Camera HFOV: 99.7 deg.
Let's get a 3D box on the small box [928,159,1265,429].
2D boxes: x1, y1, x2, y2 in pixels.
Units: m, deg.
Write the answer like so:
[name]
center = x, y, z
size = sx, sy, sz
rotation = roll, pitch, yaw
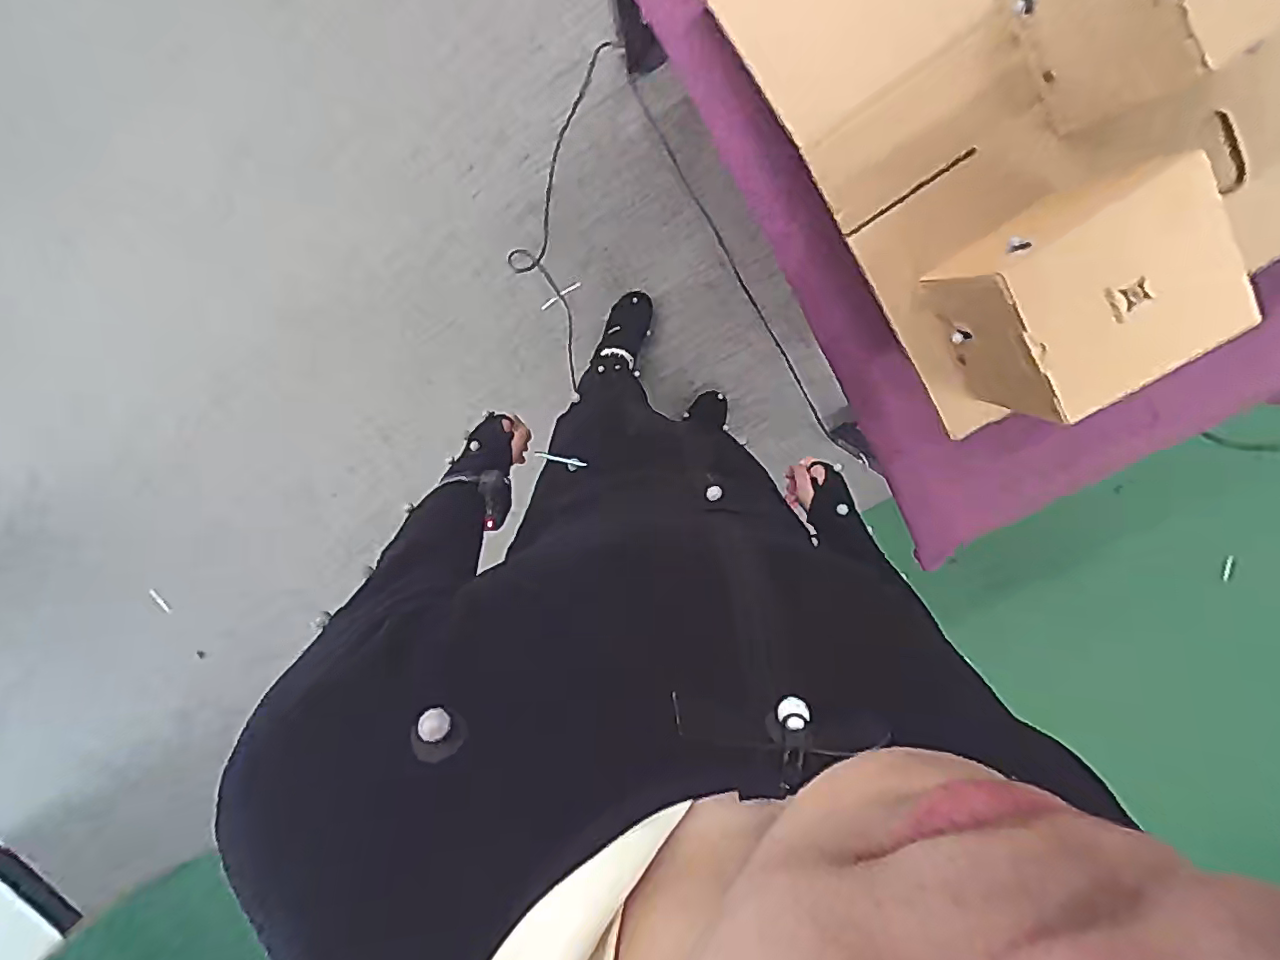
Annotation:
[small box]
center = 0.440, -0.181, 0.551
size = 0.179, 0.176, 0.168
rotation = -32, 103, 13
